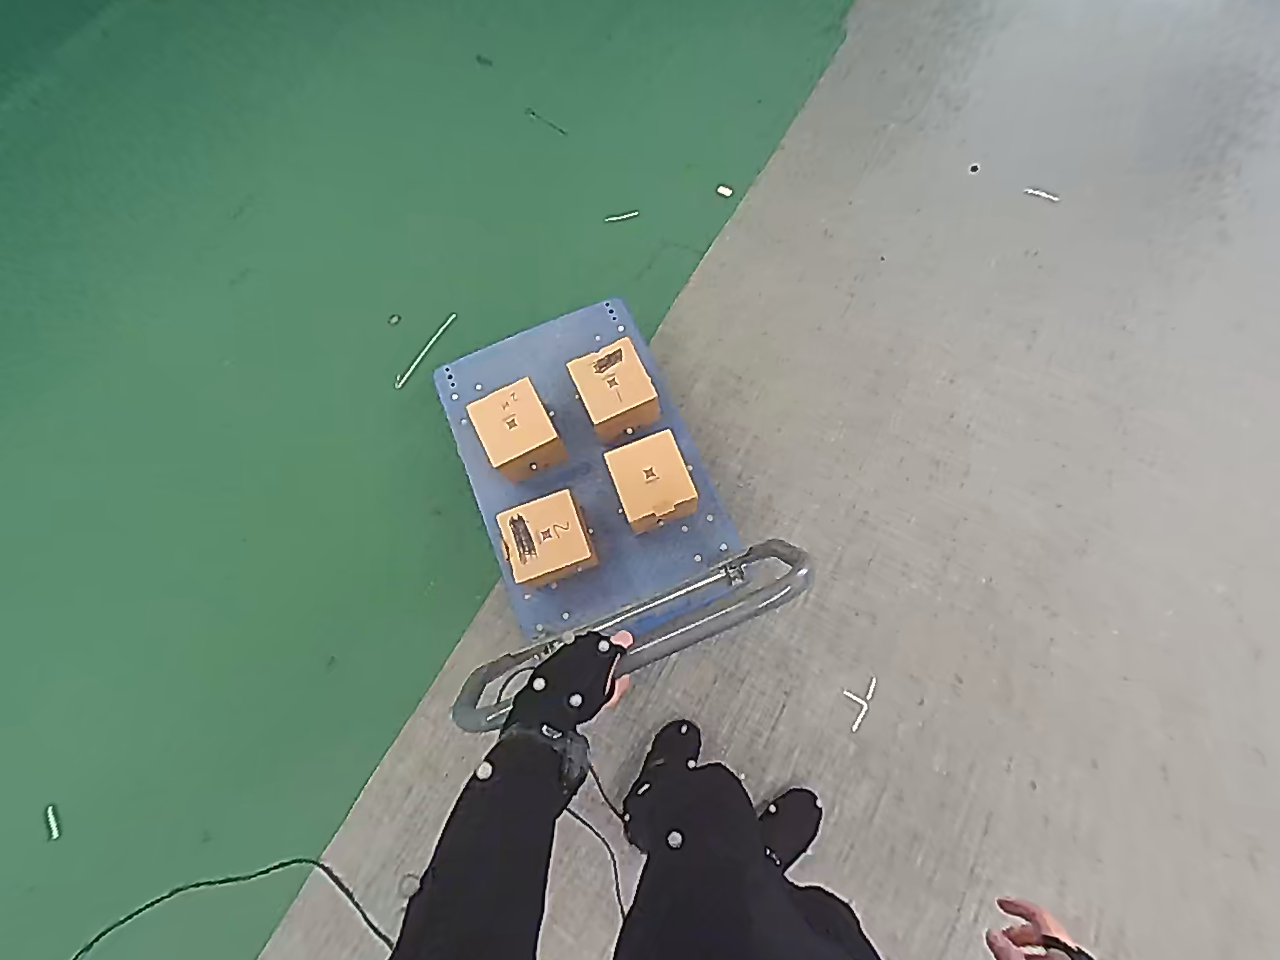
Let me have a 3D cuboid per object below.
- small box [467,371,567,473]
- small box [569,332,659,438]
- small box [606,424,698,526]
[{"bbox_3d":[-0.296,-0.132,1.337,0.168,0.176,0.179,-26,76,-4],"label":"small box"},{"bbox_3d":[-0.061,-0.231,1.349,0.168,0.176,0.179,-24,77,-2],"label":"small box"},{"bbox_3d":[0.027,-0.006,1.291,0.168,0.176,0.179,-21,77,-2],"label":"small box"}]
